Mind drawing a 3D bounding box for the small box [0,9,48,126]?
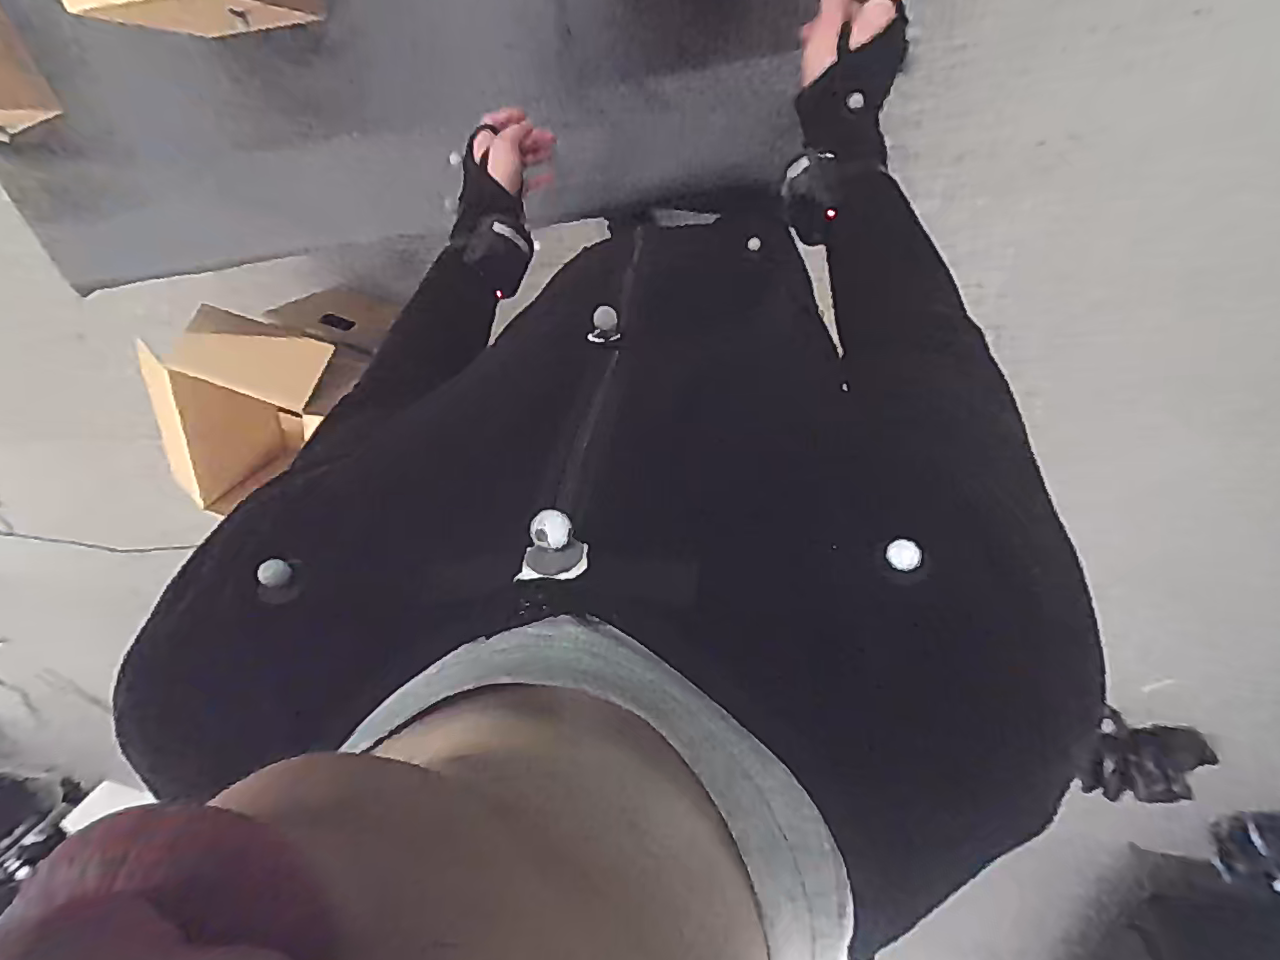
[{"bbox_3d":[-0.908,-0.538,0.661,0.179,0.176,0.168,-5,121,16],"label":"small box"}]

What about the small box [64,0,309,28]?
[{"bbox_3d":[-0.466,-0.571,0.532,0.179,0.176,0.168,3,122,13],"label":"small box"}]
